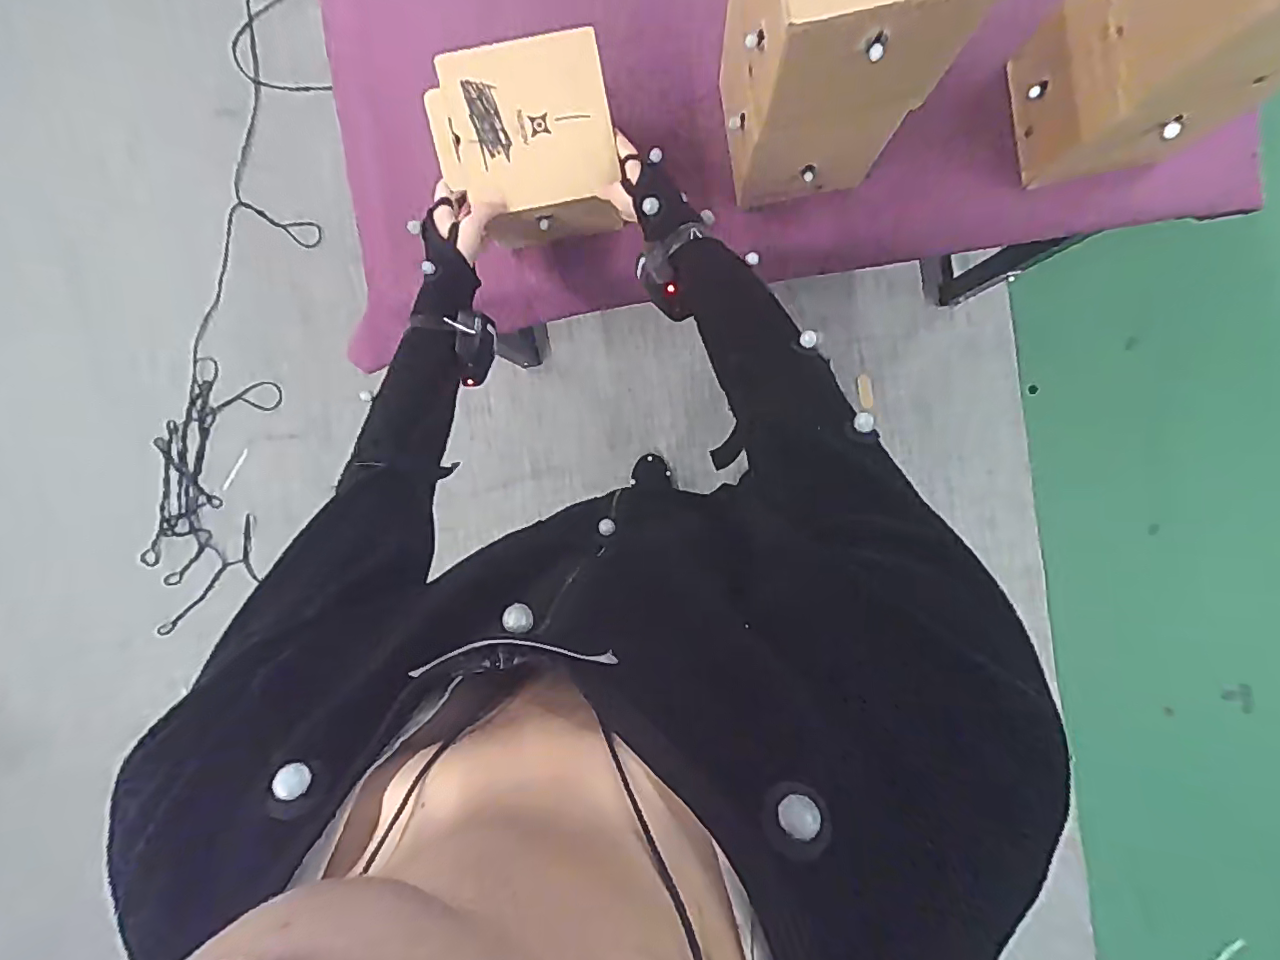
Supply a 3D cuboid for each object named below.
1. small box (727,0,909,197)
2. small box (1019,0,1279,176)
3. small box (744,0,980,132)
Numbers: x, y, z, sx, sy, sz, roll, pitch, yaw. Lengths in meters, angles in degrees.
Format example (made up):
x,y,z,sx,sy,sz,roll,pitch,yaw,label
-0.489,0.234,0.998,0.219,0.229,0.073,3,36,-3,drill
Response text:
x,y,z,sx,sy,sz,roll,pitch,yaw,label
0.202,-0.469,0.654,0.168,0.176,0.179,-9,92,6,small box
0.580,-0.483,0.618,0.179,0.176,0.168,-10,94,7,small box
0.193,-0.455,0.491,0.179,0.176,0.168,-9,93,6,small box
